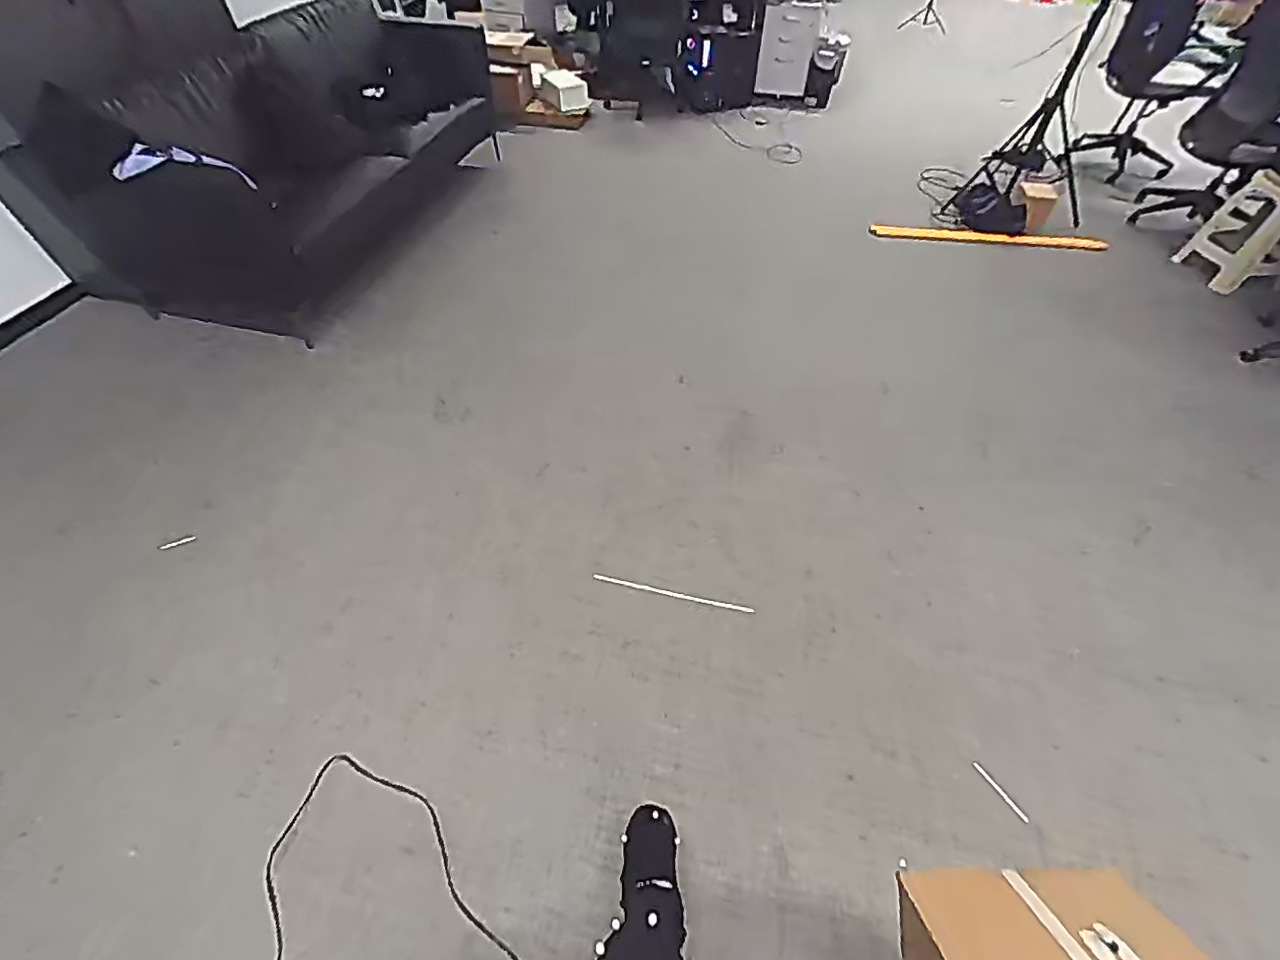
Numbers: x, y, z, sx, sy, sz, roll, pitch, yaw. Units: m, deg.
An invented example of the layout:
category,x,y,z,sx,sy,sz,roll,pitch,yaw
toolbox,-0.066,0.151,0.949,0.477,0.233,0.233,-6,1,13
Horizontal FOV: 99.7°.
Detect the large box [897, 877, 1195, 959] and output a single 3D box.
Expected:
category,x,y,z,sx,sy,sz,roll,pitch,yaw
large box,0.540,0.749,0.610,0.320,0.408,0.320,-2,90,3
